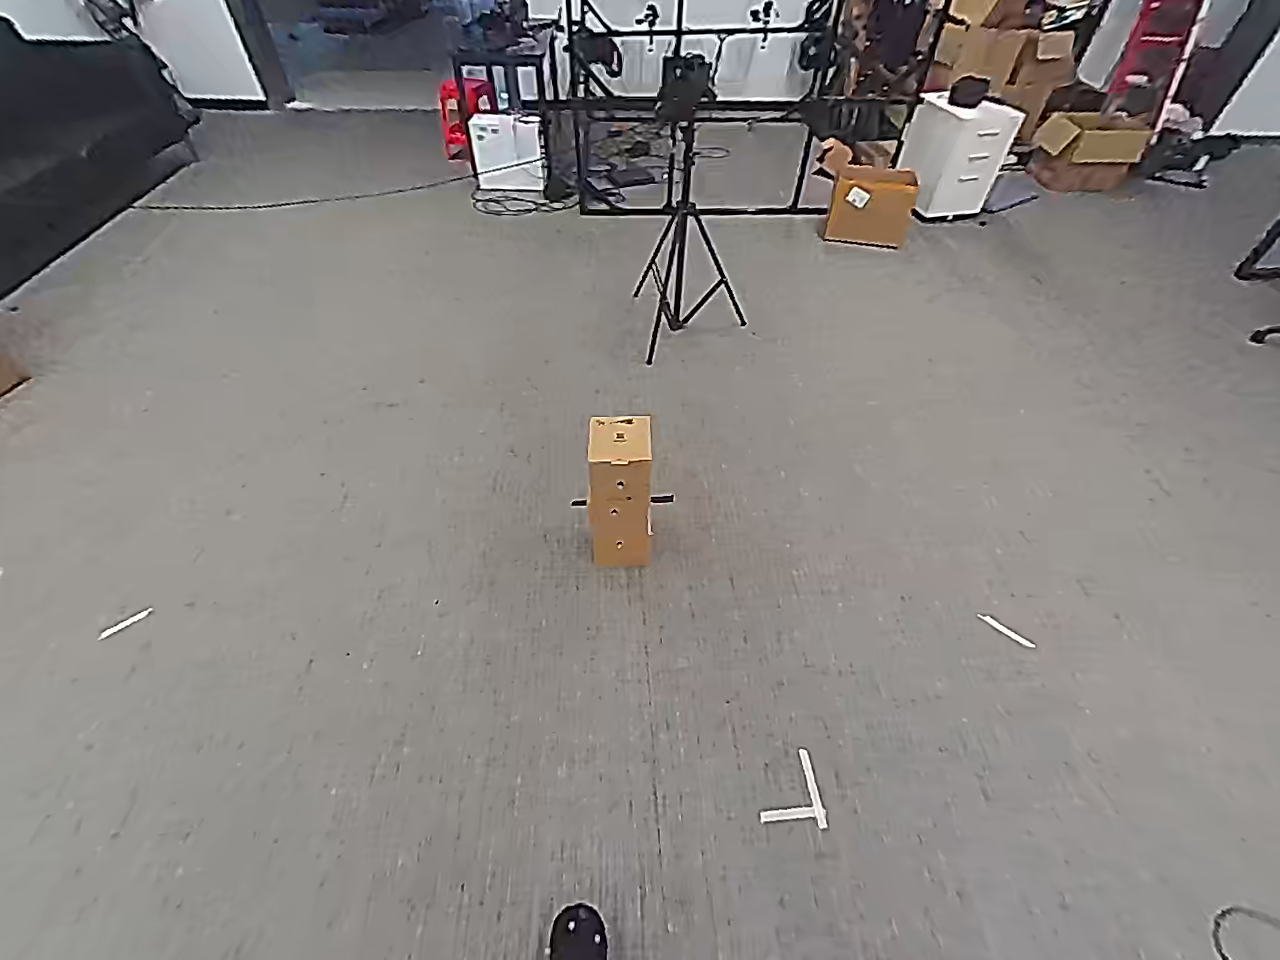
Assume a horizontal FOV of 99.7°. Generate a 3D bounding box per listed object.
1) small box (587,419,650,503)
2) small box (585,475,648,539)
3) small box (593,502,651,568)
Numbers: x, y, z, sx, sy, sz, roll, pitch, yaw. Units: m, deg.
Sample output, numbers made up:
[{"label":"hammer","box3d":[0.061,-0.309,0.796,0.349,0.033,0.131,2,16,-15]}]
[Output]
[{"label":"small box","box3d":[-0.056,-0.048,1.494,0.168,0.176,0.179,-1,49,-1]},{"label":"small box","box3d":[-0.066,0.064,1.613,0.179,0.176,0.168,0,49,-1]},{"label":"small box","box3d":[-0.060,0.171,1.738,0.179,0.176,0.168,-2,48,-2]}]
